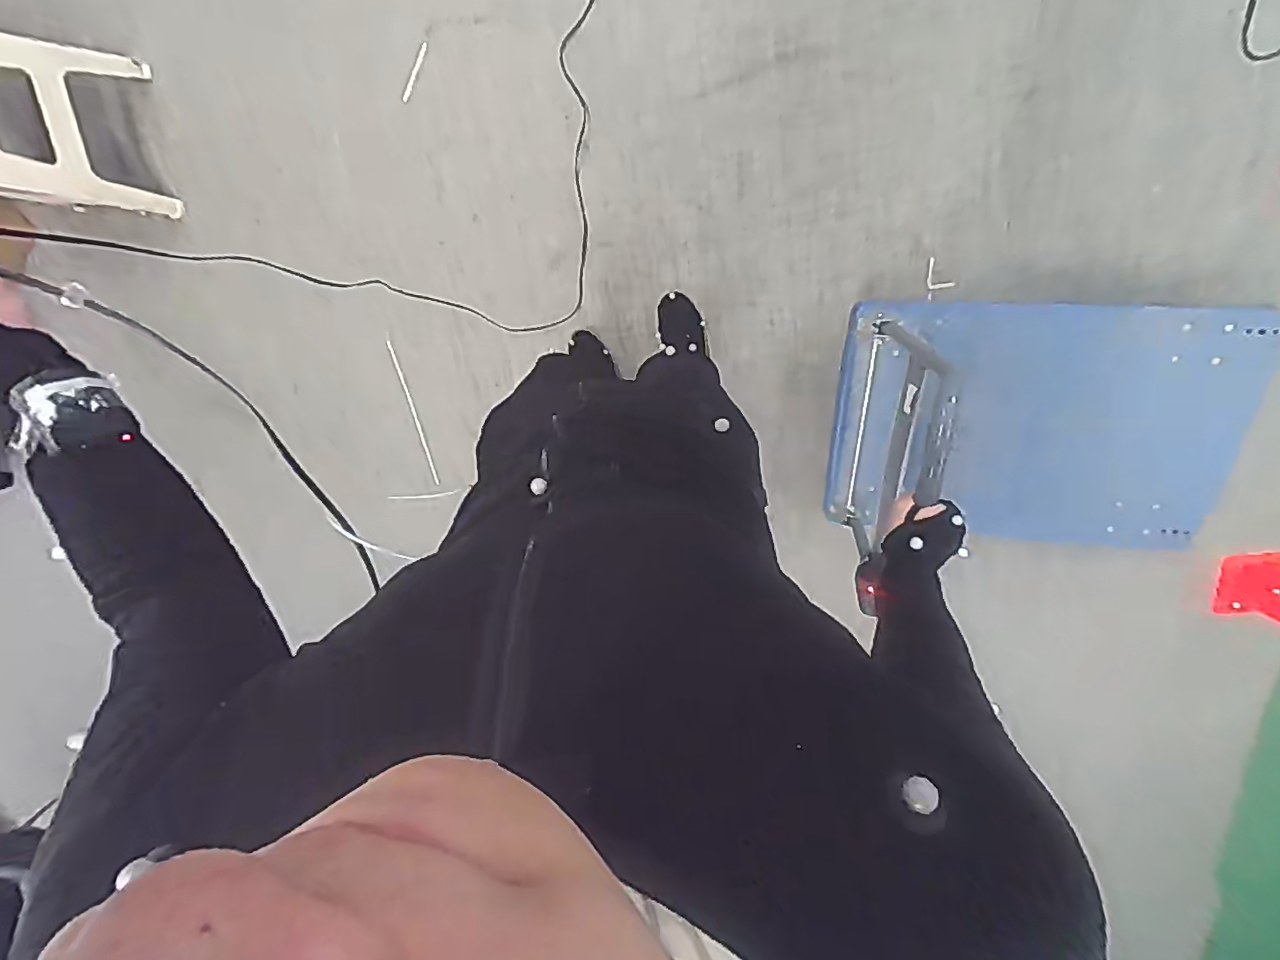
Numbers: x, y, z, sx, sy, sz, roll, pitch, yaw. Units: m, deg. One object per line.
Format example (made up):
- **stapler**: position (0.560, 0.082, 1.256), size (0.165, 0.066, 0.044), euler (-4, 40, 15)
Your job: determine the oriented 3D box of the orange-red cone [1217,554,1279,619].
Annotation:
- **orange-red cone**: position (1.706, 0.355, 1.336), size (0.199, 0.360, 0.198), euler (-6, 112, 10)
